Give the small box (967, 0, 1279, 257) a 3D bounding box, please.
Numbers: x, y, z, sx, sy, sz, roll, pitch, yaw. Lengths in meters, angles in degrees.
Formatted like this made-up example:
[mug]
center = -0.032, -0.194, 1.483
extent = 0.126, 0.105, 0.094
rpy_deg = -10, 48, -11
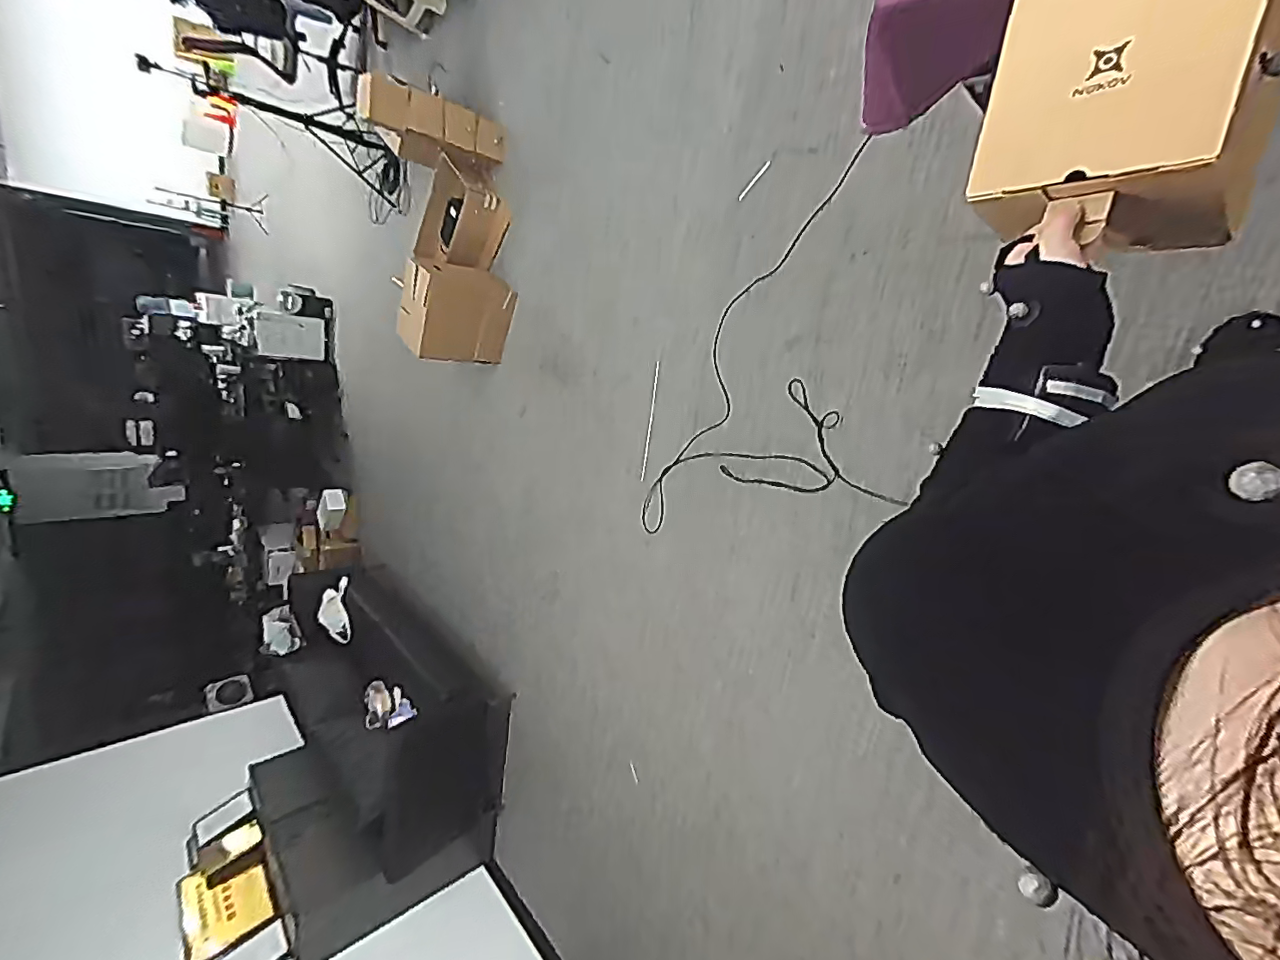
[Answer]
[small box]
center = 0.426, -0.318, 0.477
extent = 0.168, 0.176, 0.179
rpy_deg = 20, 102, 48
